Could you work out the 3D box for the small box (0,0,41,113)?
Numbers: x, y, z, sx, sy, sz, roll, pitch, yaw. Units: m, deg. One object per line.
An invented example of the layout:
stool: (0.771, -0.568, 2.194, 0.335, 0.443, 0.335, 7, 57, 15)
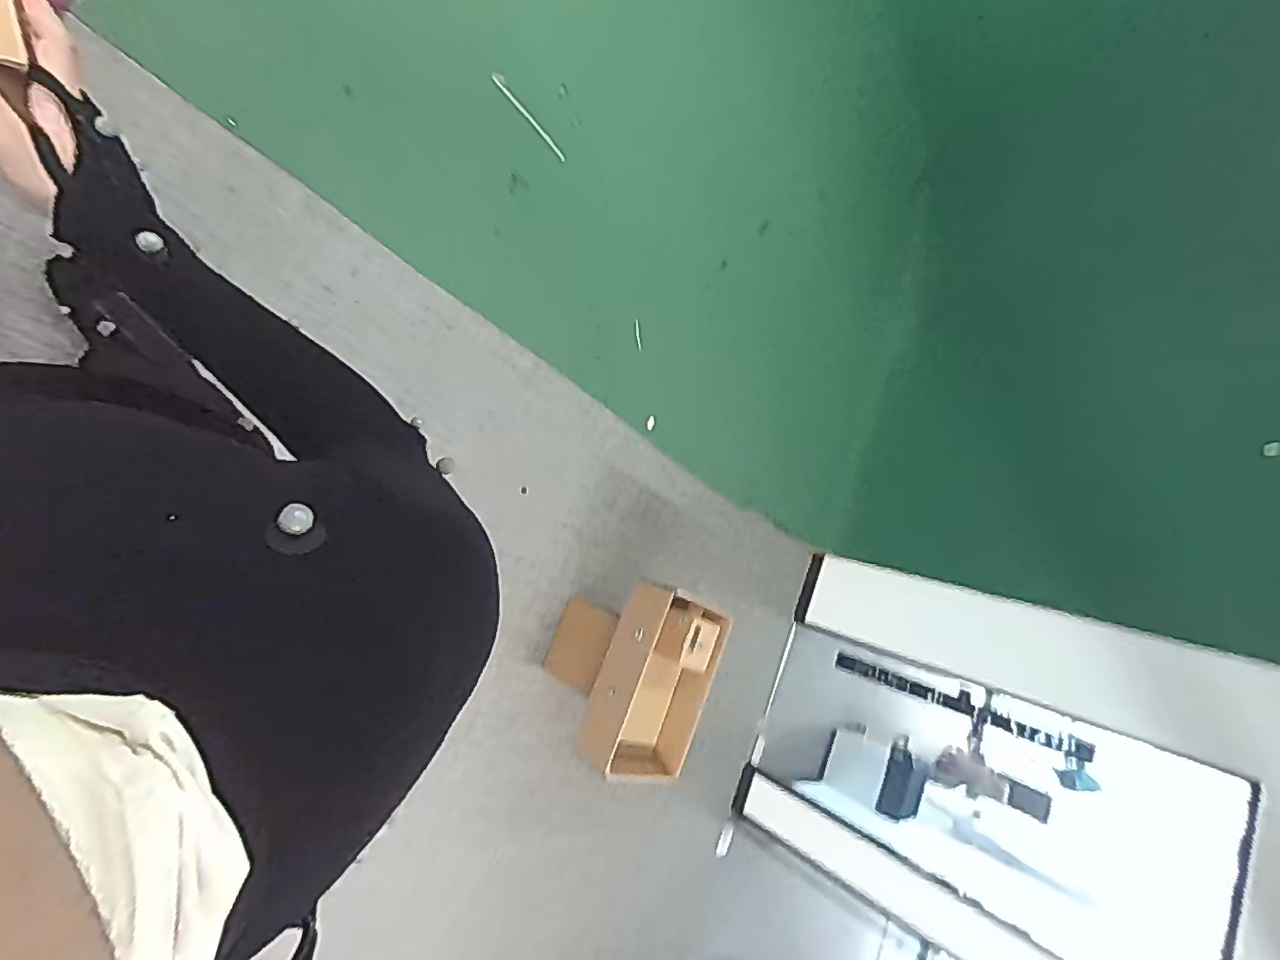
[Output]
small box: (-0.512, -0.364, 0.334, 0.168, 0.176, 0.179, -14, 113, -44)
